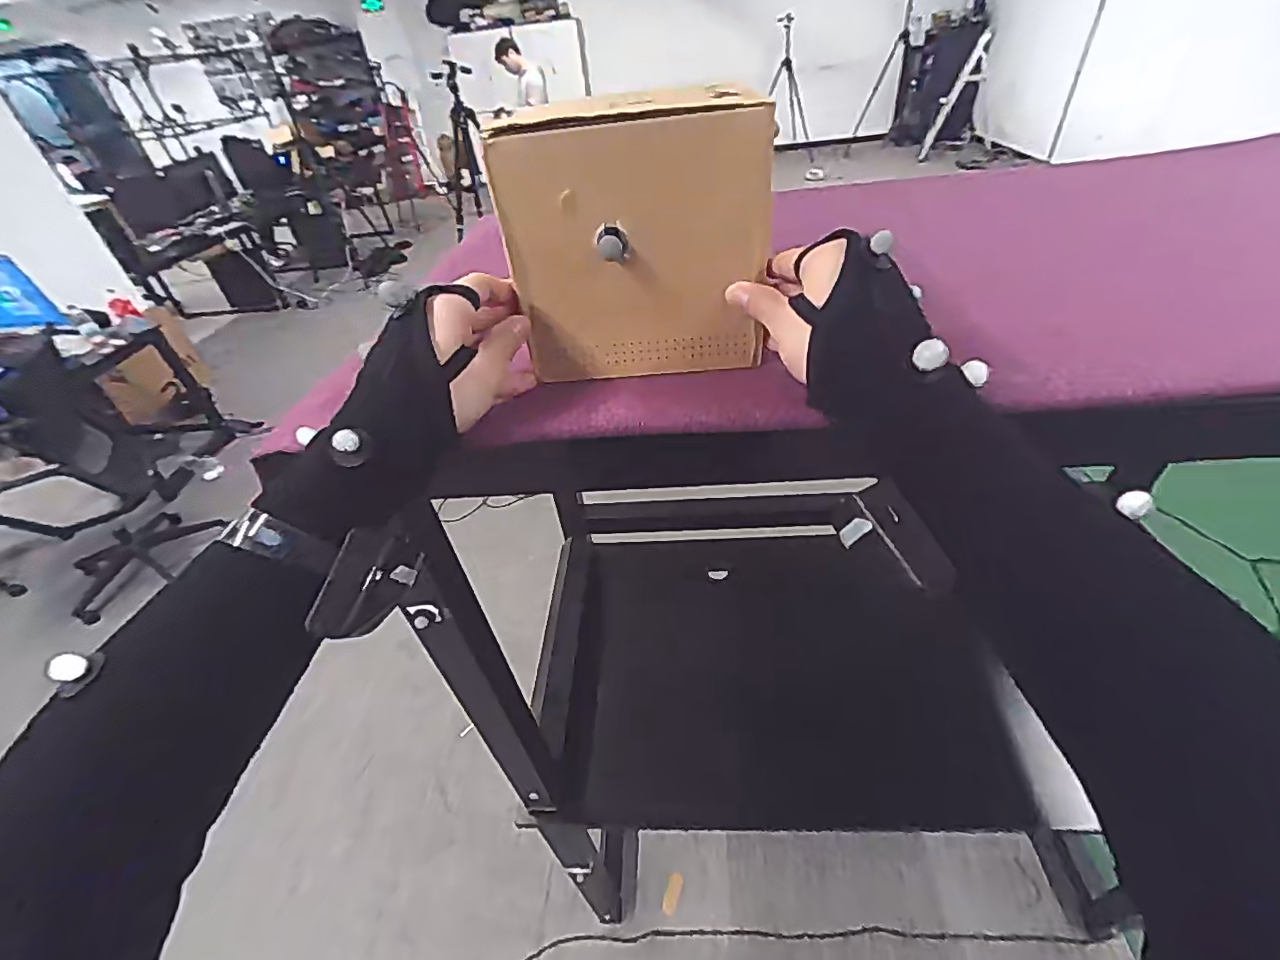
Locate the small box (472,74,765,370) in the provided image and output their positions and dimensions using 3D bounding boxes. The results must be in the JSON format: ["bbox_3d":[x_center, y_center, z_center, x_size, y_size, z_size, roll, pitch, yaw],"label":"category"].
[{"bbox_3d":[-0.002,-0.197,0.420,0.179,0.176,0.168,-5,39,5],"label":"small box"}]
